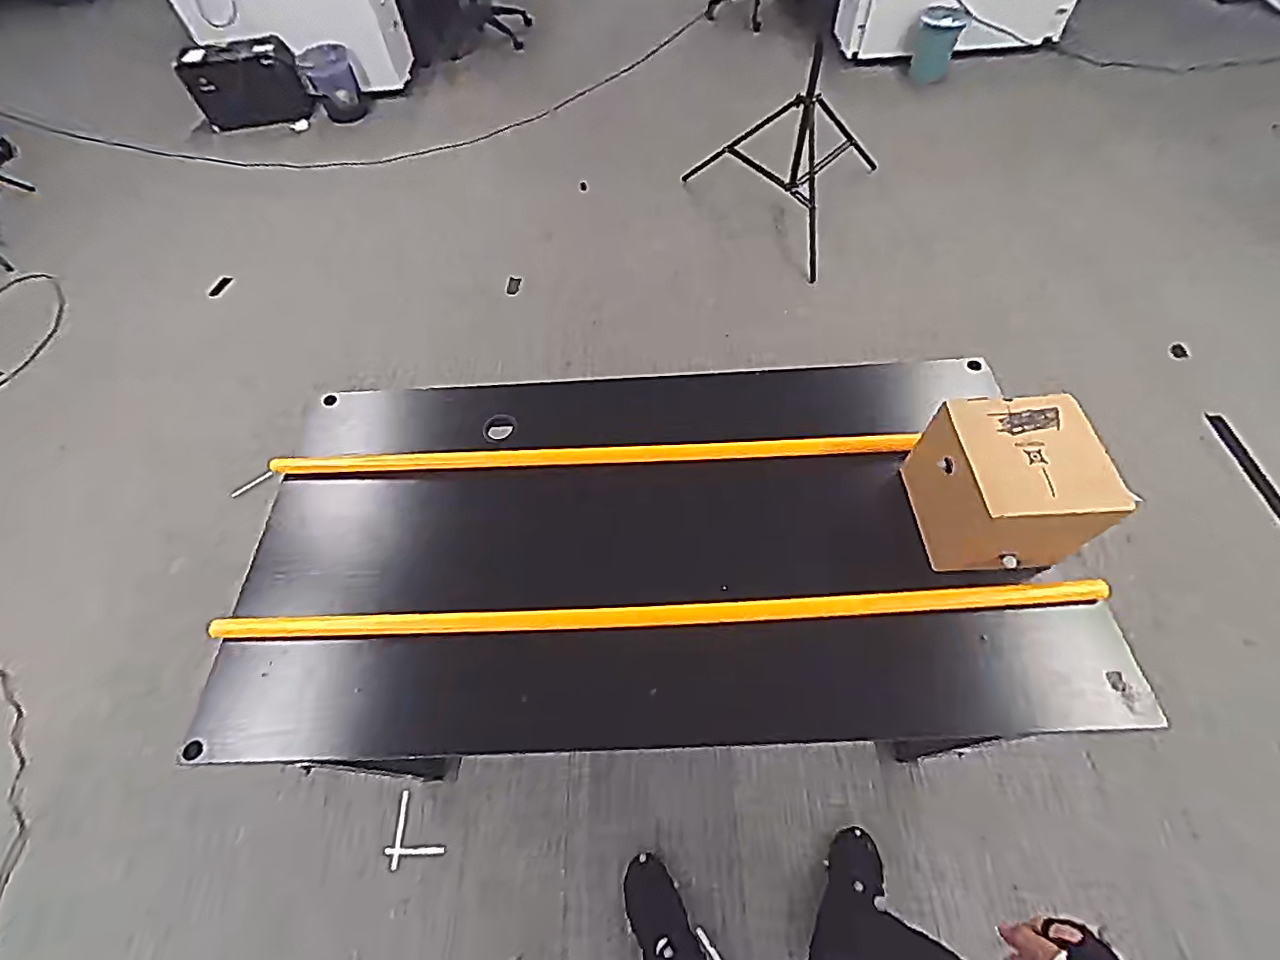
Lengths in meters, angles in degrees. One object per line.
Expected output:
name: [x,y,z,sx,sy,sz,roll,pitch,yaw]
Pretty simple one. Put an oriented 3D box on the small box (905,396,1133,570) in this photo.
small box: [0.486,0.008,0.731,0.168,0.176,0.179,-3,59,3]
